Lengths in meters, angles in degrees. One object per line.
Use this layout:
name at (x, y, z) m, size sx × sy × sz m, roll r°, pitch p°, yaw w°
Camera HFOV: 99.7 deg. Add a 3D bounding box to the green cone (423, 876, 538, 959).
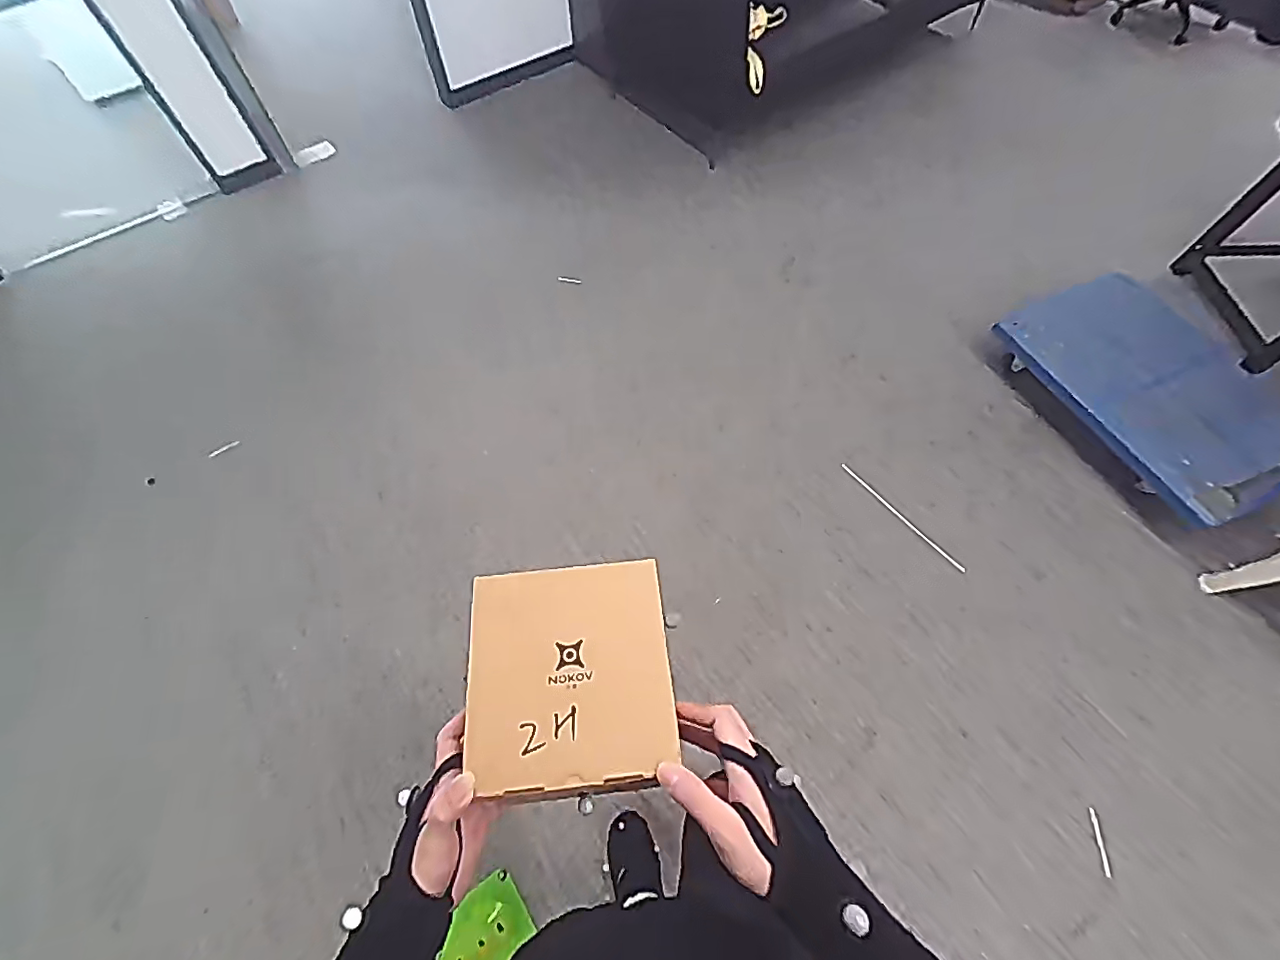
green cone at (-0.352, 0.944, 1.034) m, size 0.200 × 0.368 × 0.202 m, roll -33°, pitch 67°, yaw -16°
